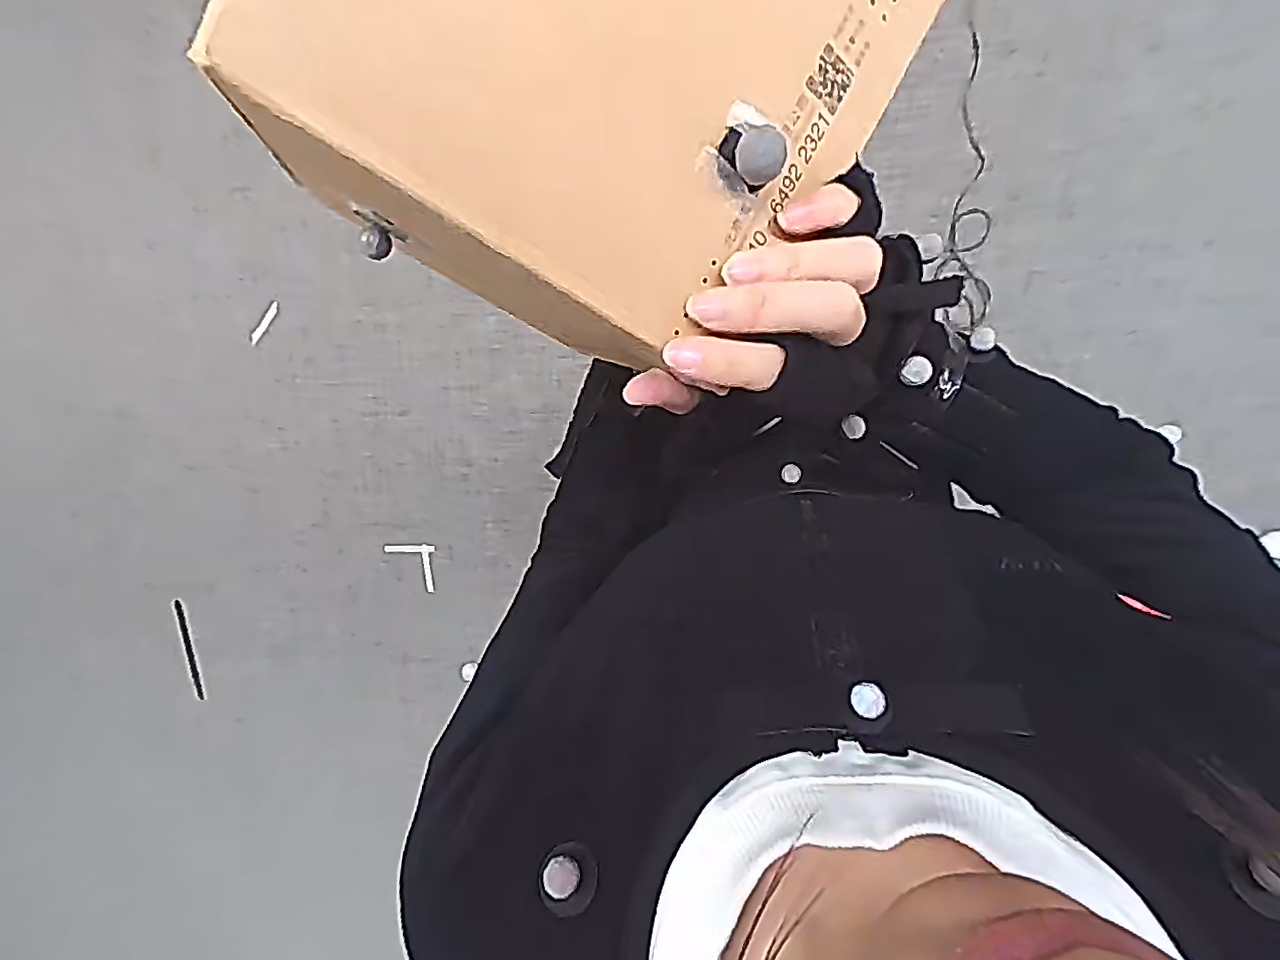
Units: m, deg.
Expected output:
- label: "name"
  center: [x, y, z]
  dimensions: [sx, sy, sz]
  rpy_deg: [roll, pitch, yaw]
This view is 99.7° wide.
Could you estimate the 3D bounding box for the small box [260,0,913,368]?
- label: "small box"
  center: [-0.027, -0.164, 0.241]
  dimensions: [0.176, 0.179, 0.168]
  rpy_deg: [24, 96, -30]
